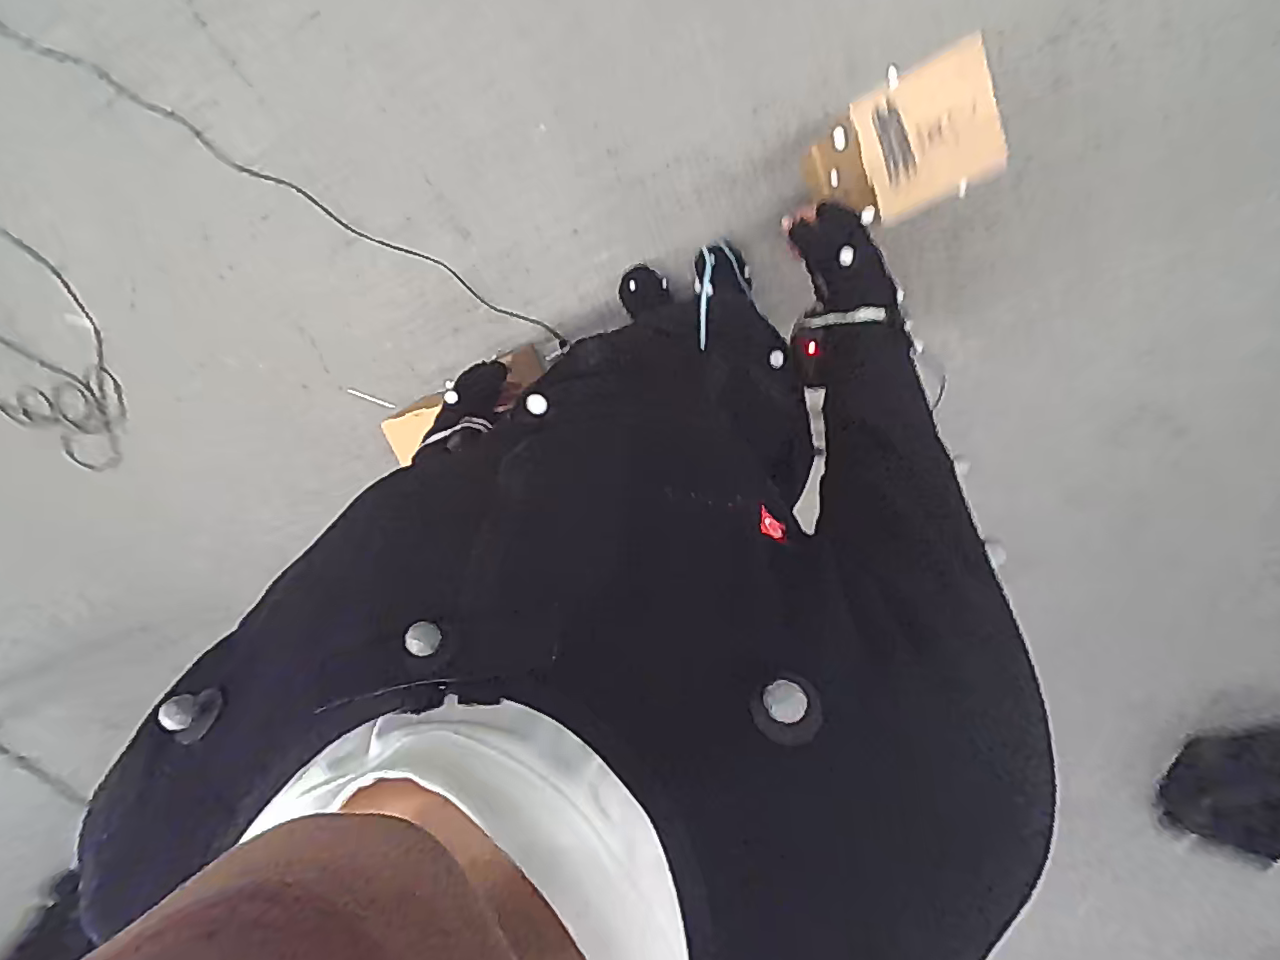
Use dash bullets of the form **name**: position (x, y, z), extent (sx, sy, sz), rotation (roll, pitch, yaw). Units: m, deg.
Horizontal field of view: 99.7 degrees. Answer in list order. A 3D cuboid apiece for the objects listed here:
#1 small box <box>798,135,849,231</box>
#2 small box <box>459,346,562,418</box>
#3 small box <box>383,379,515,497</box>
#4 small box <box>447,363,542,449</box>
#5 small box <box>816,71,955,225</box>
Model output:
- **small box**: position (0.439, -0.637, 1.116), extent (0.168, 0.176, 0.179), rotation (-19, 111, 15)
- **small box**: position (-0.330, -0.236, 1.411), extent (0.168, 0.176, 0.179), rotation (-20, 109, 20)
- **small box**: position (-0.382, -0.090, 1.120), extent (0.168, 0.176, 0.179), rotation (-13, 112, 14)
- **small box**: position (-0.354, -0.160, 1.264), extent (0.168, 0.176, 0.179), rotation (-18, 112, 16)
- **small box**: position (0.428, -0.574, 0.965), extent (0.168, 0.176, 0.179), rotation (-19, 111, 16)
